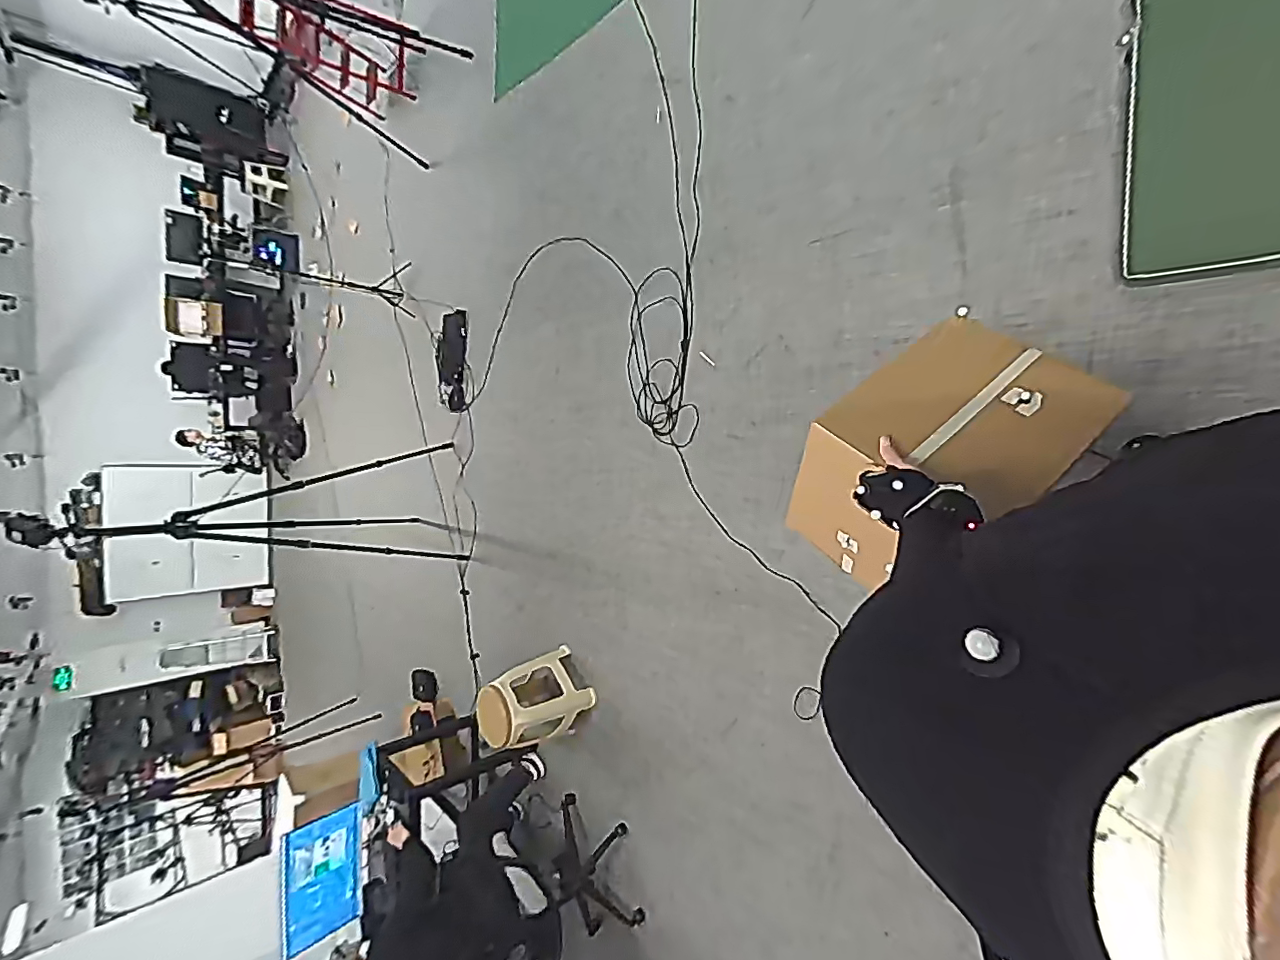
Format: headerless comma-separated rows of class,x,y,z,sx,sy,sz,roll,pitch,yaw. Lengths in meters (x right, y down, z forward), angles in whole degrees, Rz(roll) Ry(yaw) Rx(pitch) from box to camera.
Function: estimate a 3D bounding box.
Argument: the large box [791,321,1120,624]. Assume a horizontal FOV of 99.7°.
large box,0.542,-0.018,0.995,0.320,0.408,0.320,43,156,30
